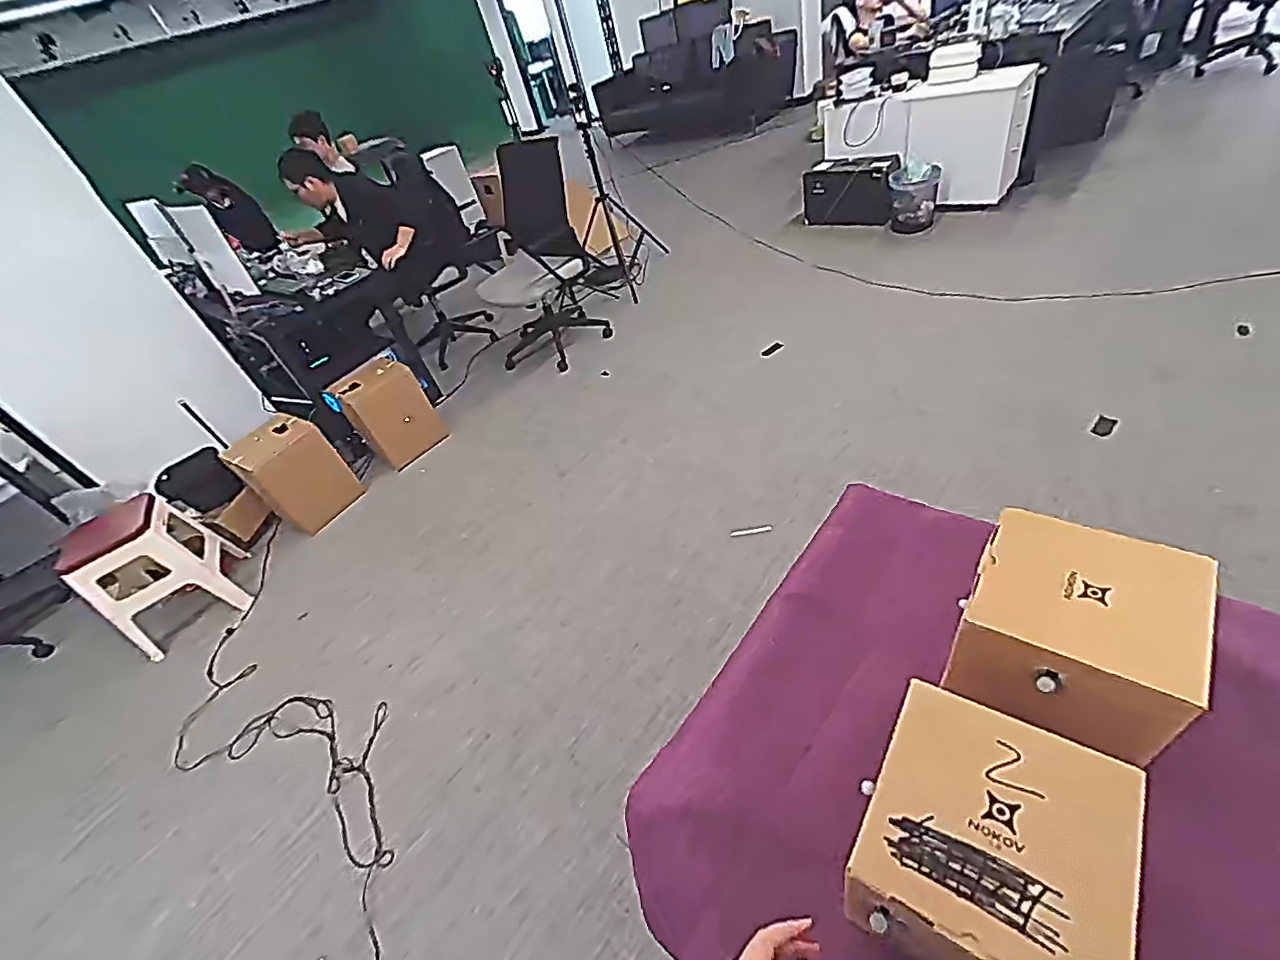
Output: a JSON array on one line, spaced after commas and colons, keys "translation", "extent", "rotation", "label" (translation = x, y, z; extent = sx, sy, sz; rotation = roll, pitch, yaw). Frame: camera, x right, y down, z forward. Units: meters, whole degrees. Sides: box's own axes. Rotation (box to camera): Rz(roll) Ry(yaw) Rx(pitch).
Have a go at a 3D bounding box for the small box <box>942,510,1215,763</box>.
[{"translation": [0.445, 0.165, 0.570], "extent": [0.179, 0.176, 0.168], "rotation": [19, 53, 35], "label": "small box"}]
